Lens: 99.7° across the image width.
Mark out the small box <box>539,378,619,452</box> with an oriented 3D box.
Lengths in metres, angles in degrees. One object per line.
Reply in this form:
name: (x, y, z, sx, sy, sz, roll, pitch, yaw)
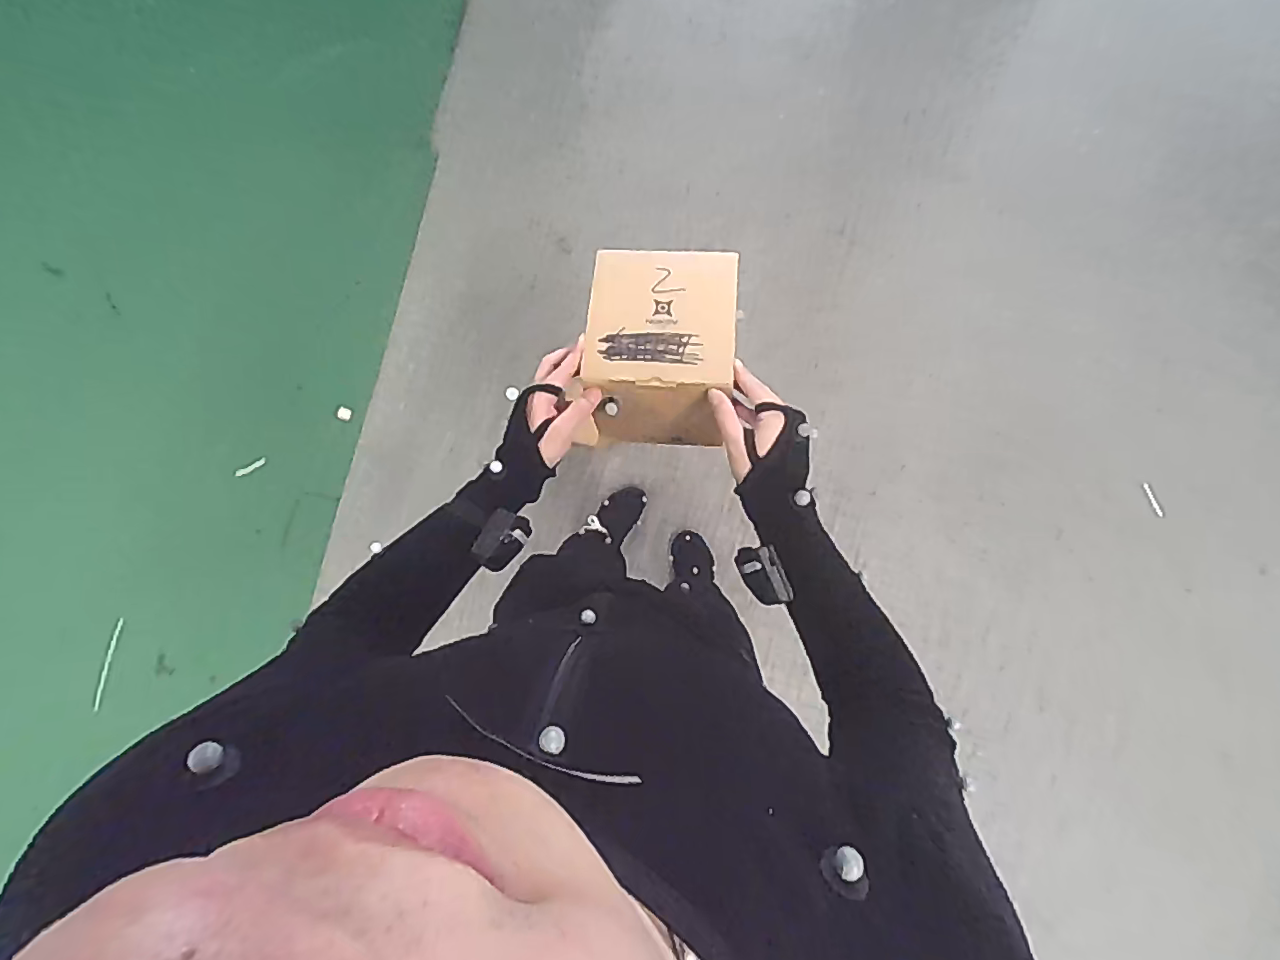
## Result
small box: (-0.173, -0.181, 1.578, 0.179, 0.176, 0.168, 15, 89, 6)
